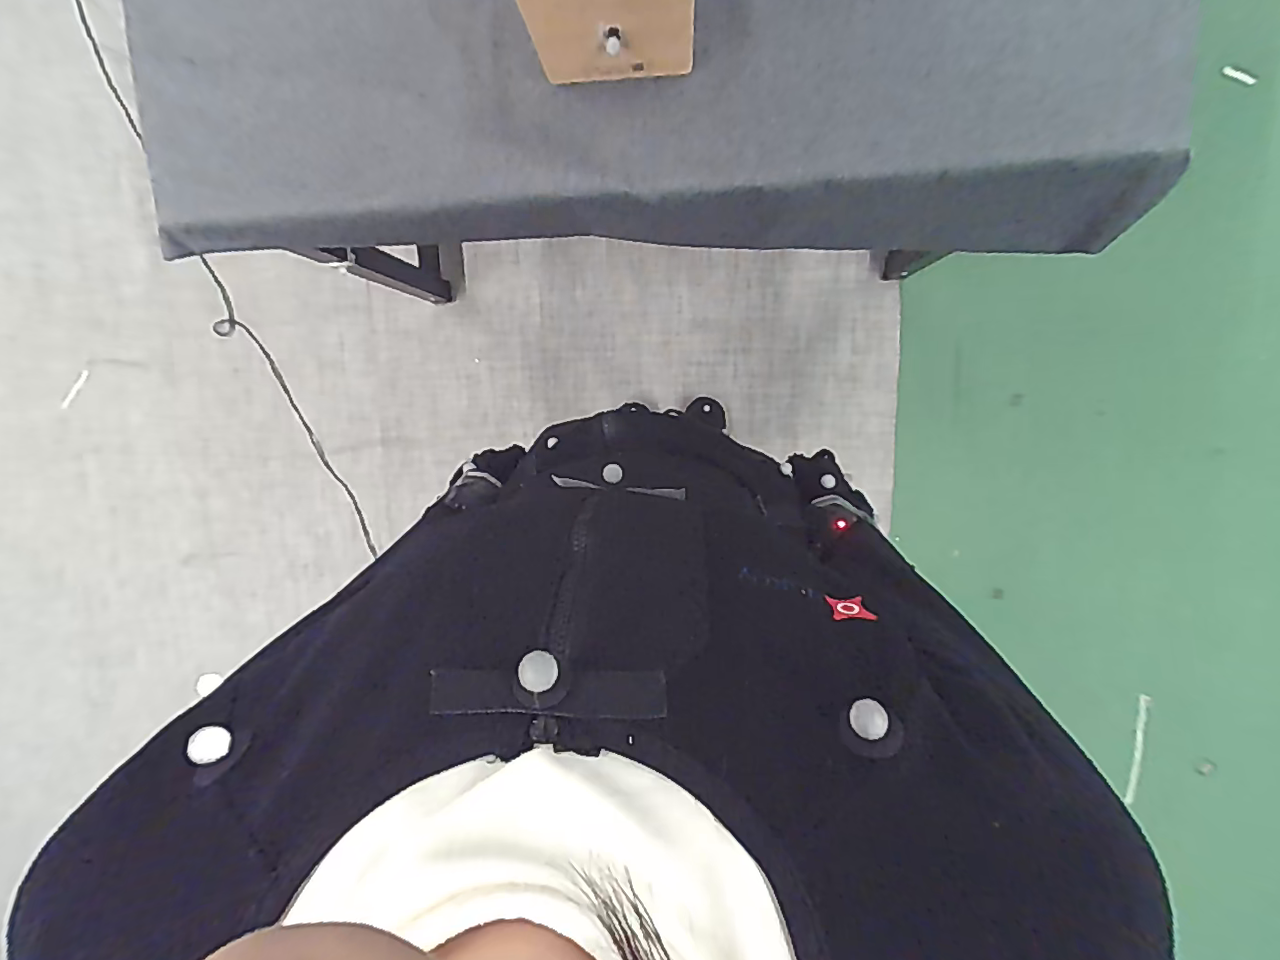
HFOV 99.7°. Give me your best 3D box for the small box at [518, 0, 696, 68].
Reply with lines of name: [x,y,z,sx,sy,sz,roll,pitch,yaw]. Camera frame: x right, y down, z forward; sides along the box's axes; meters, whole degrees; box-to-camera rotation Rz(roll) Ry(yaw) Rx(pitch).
small box: [-0.030,-0.538,0.525,0.168,0.176,0.179,-2,100,6]
